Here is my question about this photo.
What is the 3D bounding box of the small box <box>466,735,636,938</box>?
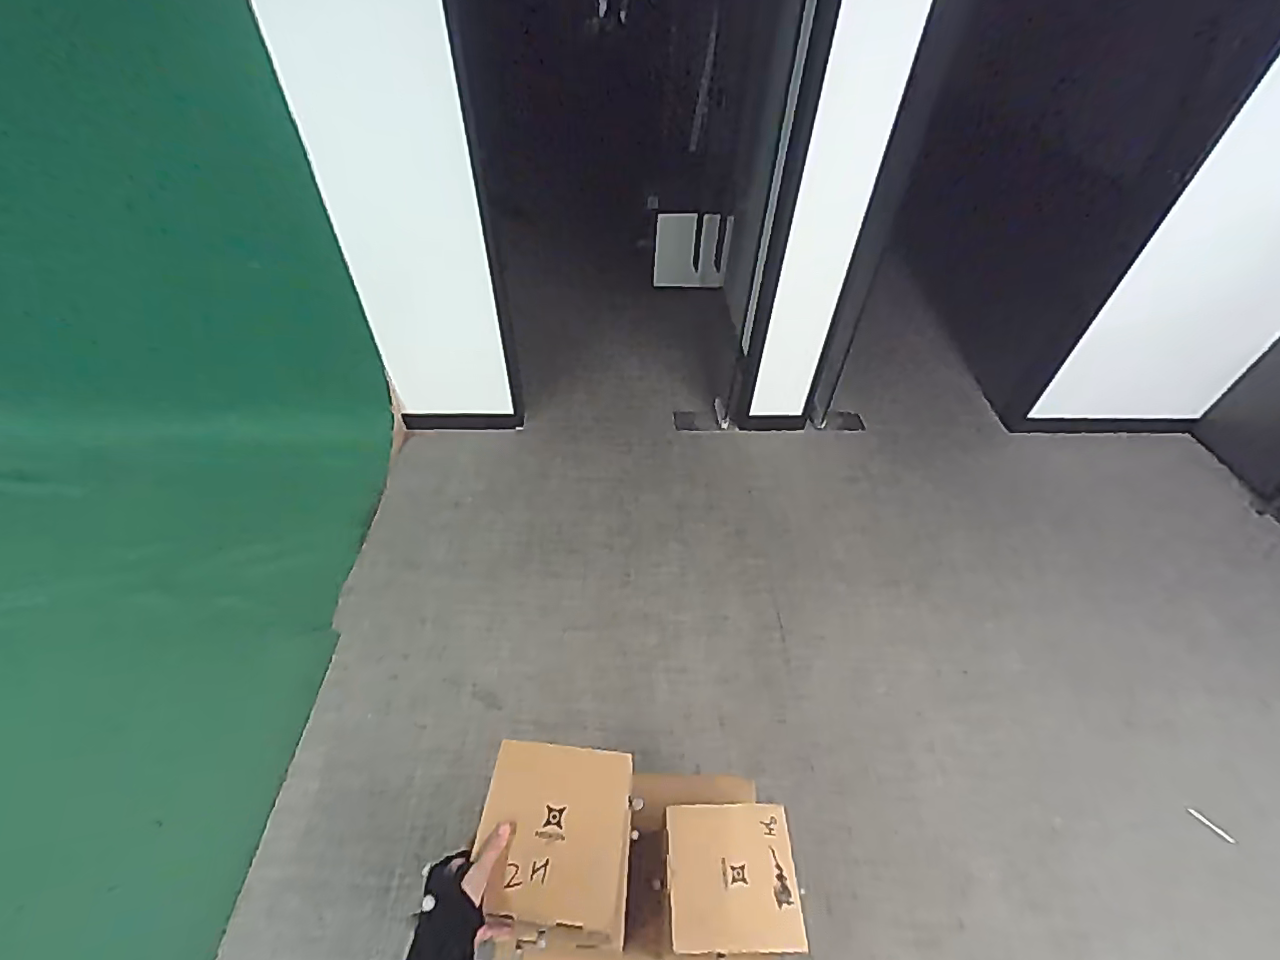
[{"bbox_3d":[-0.096,0.447,0.679,0.168,0.176,0.179,4,47,4],"label":"small box"}]
